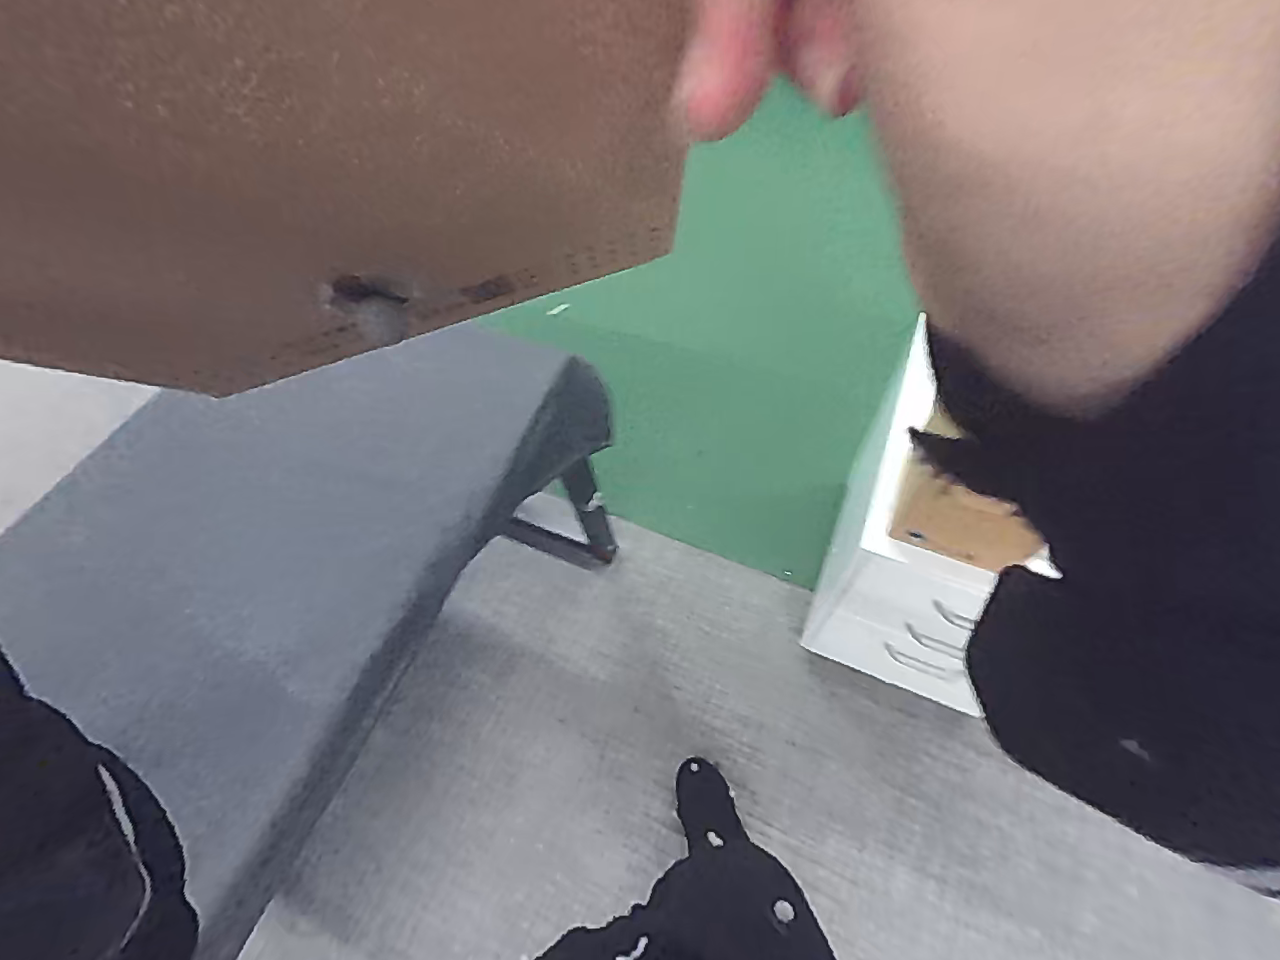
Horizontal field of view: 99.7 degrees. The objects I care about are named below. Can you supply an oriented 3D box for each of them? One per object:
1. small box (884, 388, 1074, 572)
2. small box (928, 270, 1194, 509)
[{"bbox_3d":[0.447,-0.001,0.725,0.168,0.176,0.179,20,61,15],"label":"small box"},{"bbox_3d":[0.437,-0.093,0.591,0.168,0.176,0.179,18,61,13],"label":"small box"}]
